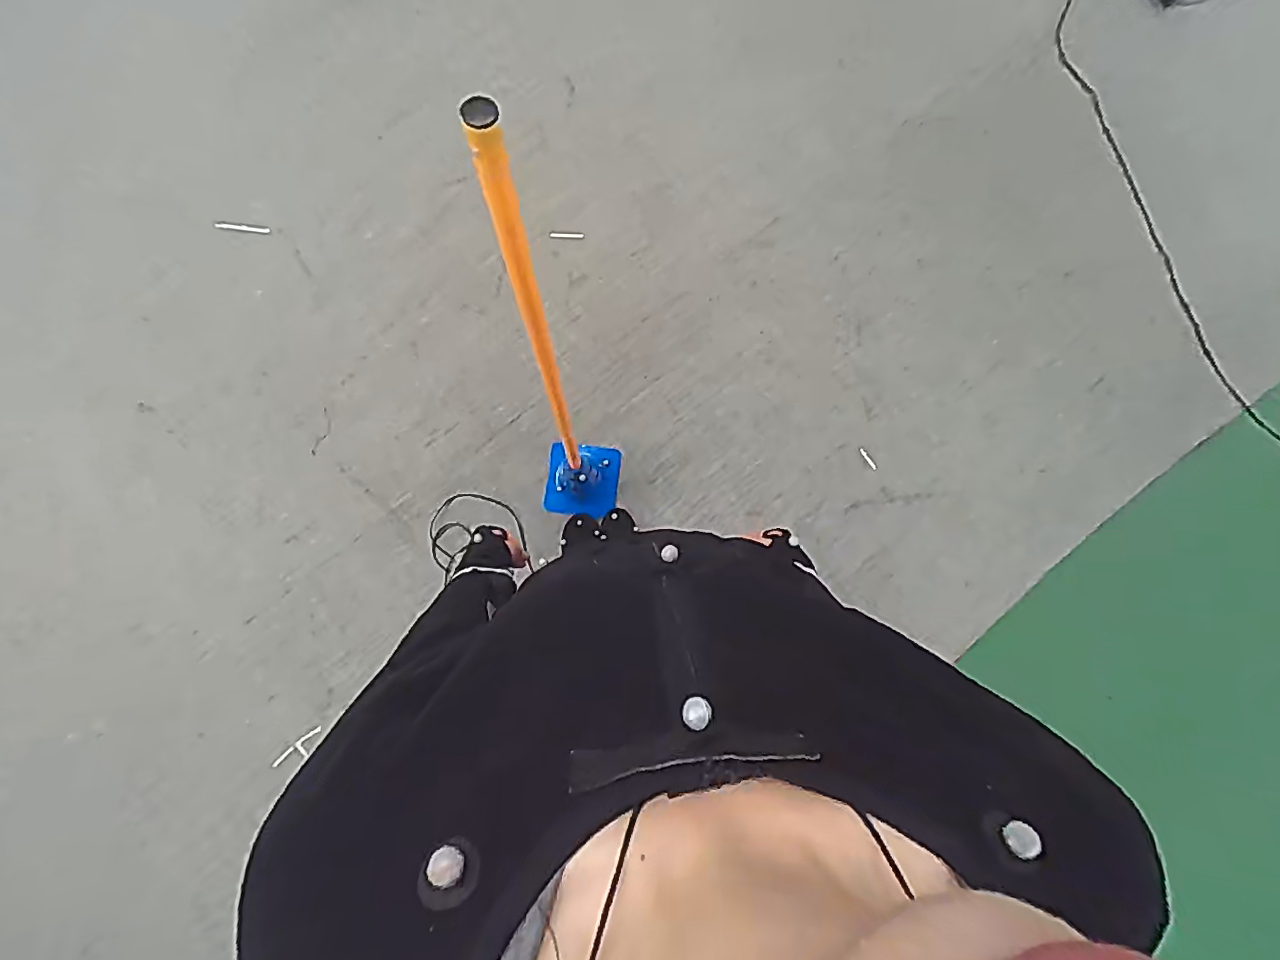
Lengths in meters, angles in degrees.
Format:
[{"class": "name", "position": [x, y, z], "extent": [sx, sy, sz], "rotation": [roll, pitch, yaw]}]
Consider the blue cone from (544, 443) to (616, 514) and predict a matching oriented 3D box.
[{"class": "blue cone", "position": [-0.152, -0.023, 1.323], "extent": [0.192, 0.380, 0.193], "rotation": [6, 83, -3]}]
